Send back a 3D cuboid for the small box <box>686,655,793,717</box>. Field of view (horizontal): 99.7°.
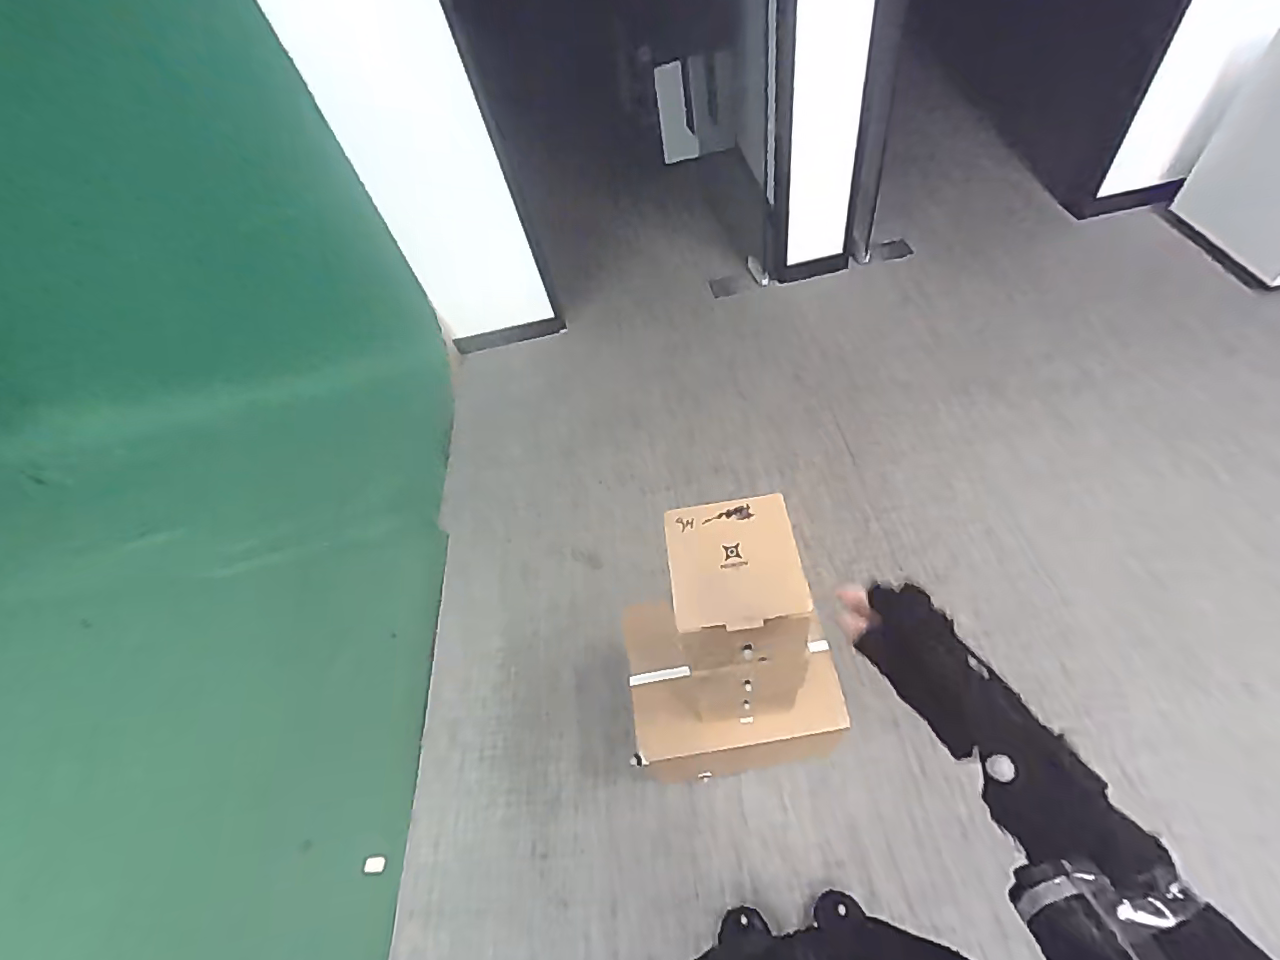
[{"bbox_3d":[0.179,0.336,1.018,0.179,0.176,0.168,-10,54,4],"label":"small box"}]

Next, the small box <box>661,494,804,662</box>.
[{"bbox_3d":[0.127,0.146,0.757,0.168,0.176,0.179,-9,55,7],"label":"small box"}]

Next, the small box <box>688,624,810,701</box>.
[{"bbox_3d":[0.159,0.246,0.883,0.179,0.176,0.168,-13,54,2],"label":"small box"}]
